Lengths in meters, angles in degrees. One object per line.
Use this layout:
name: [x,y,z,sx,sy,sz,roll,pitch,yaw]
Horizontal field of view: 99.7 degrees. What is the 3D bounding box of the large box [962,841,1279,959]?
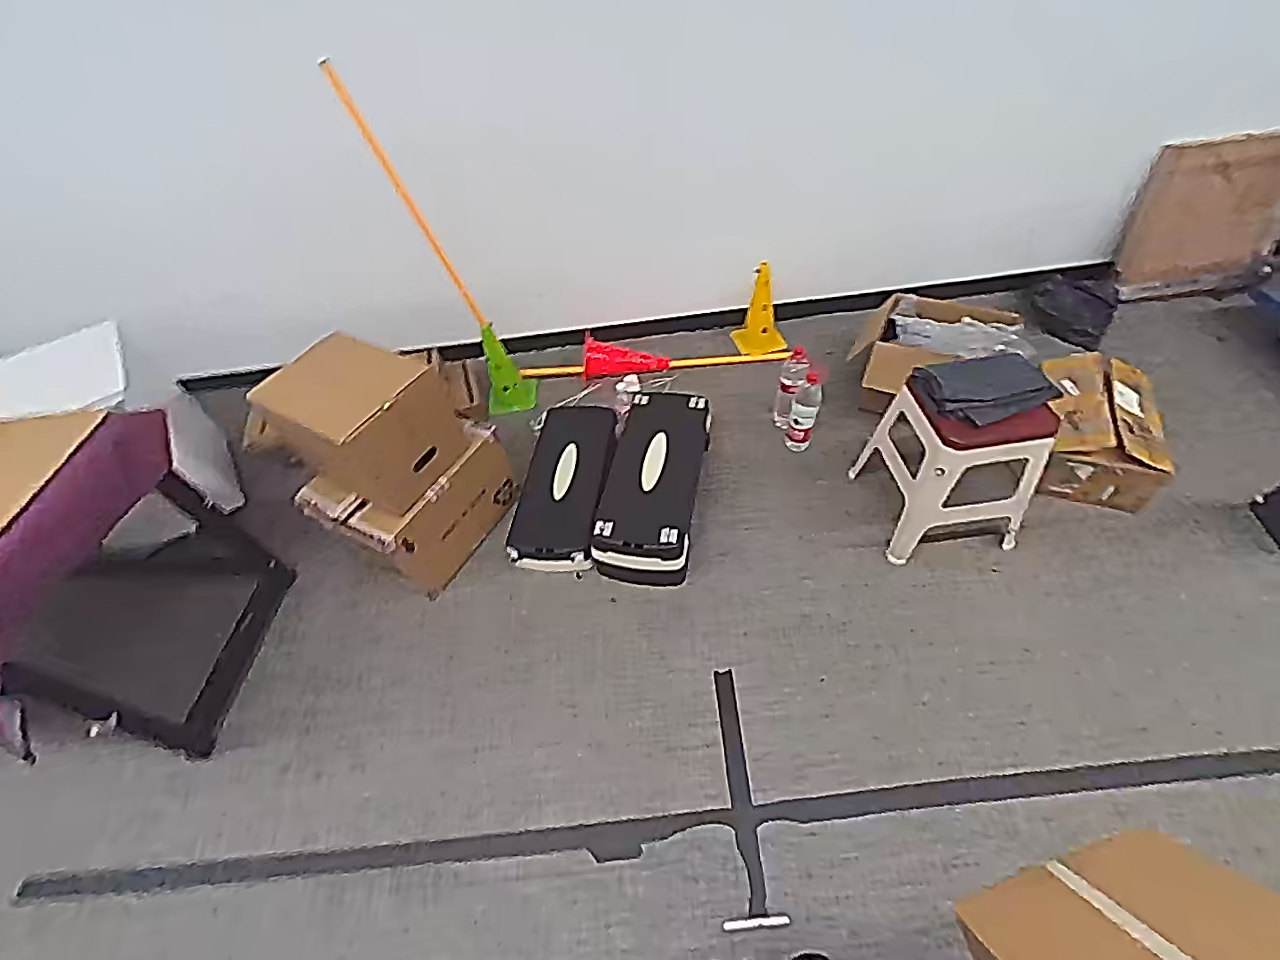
large box: [0.647,0.683,0.560,0.320,0.408,0.320,-21,84,-3]
